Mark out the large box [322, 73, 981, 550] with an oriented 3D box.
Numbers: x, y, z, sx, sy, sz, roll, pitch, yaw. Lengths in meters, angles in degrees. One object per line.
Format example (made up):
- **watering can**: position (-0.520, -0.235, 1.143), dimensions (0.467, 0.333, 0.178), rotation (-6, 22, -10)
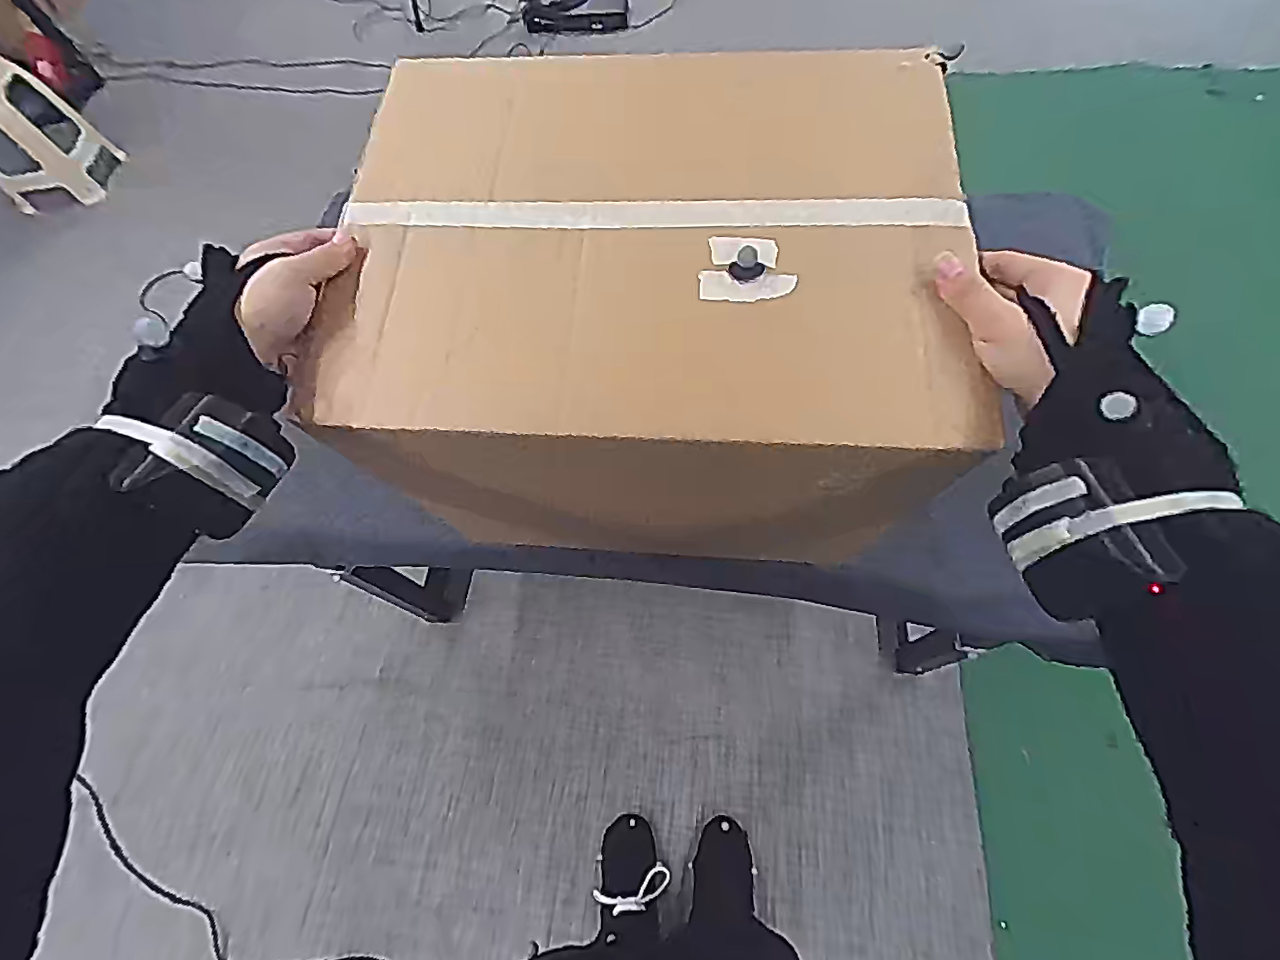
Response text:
- **large box**: position (0.013, -0.122, 0.511), dimensions (0.408, 0.320, 0.320), rotation (2, 70, 4)
